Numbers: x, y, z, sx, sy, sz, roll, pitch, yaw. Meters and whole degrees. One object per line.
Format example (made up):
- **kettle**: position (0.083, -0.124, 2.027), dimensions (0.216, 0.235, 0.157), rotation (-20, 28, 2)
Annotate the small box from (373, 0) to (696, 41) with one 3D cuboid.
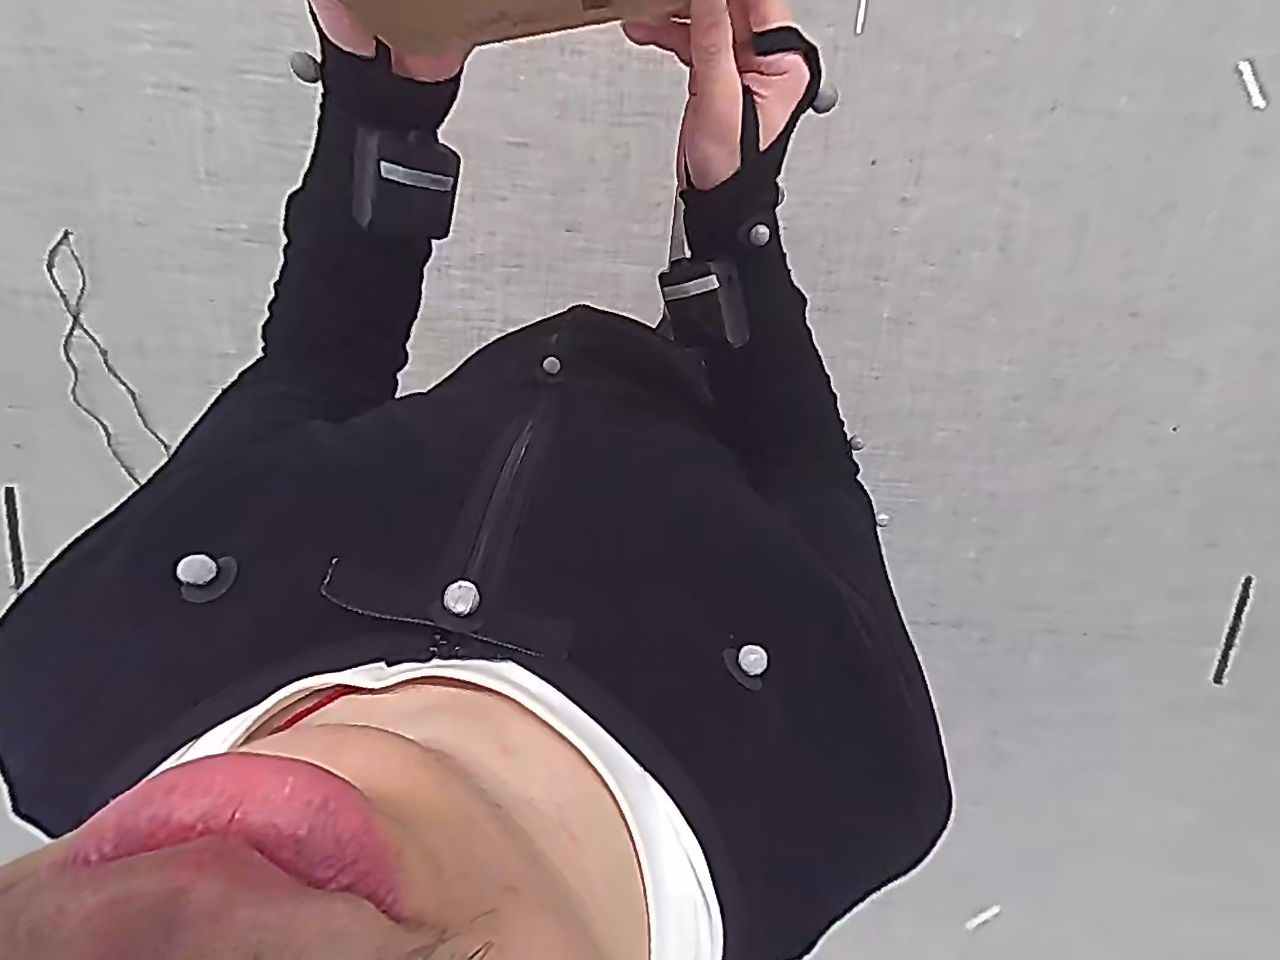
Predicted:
- **small box**: position (-0.050, -0.284, 0.180), dimensions (0.168, 0.176, 0.179), rotation (-10, 111, 0)
